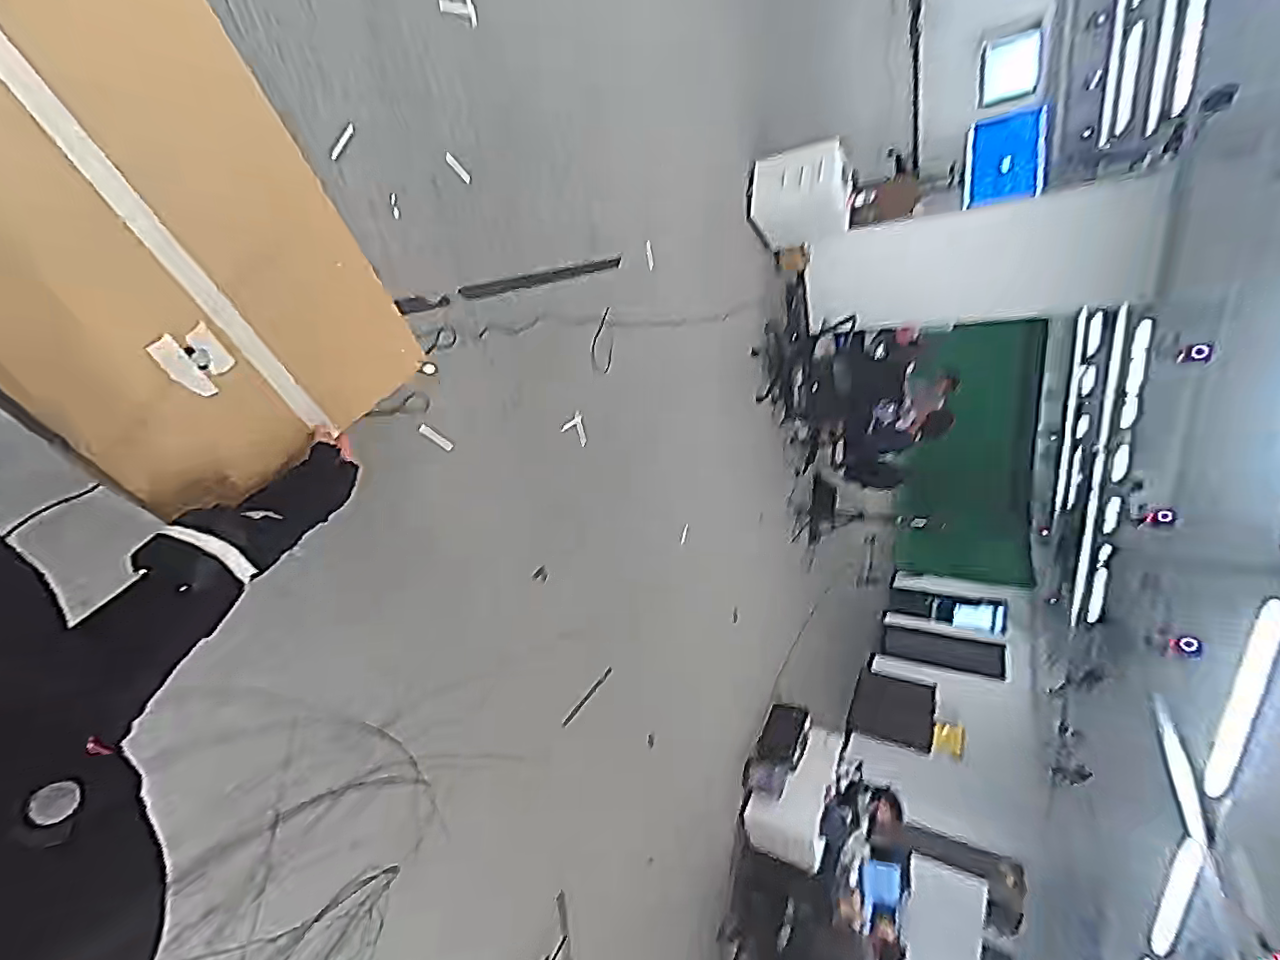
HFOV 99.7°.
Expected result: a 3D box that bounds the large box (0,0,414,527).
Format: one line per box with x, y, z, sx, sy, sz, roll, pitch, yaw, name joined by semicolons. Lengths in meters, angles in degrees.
-0.537;-0.220;0.553;0.320;0.320;0.408;-54;141;-32;large box
